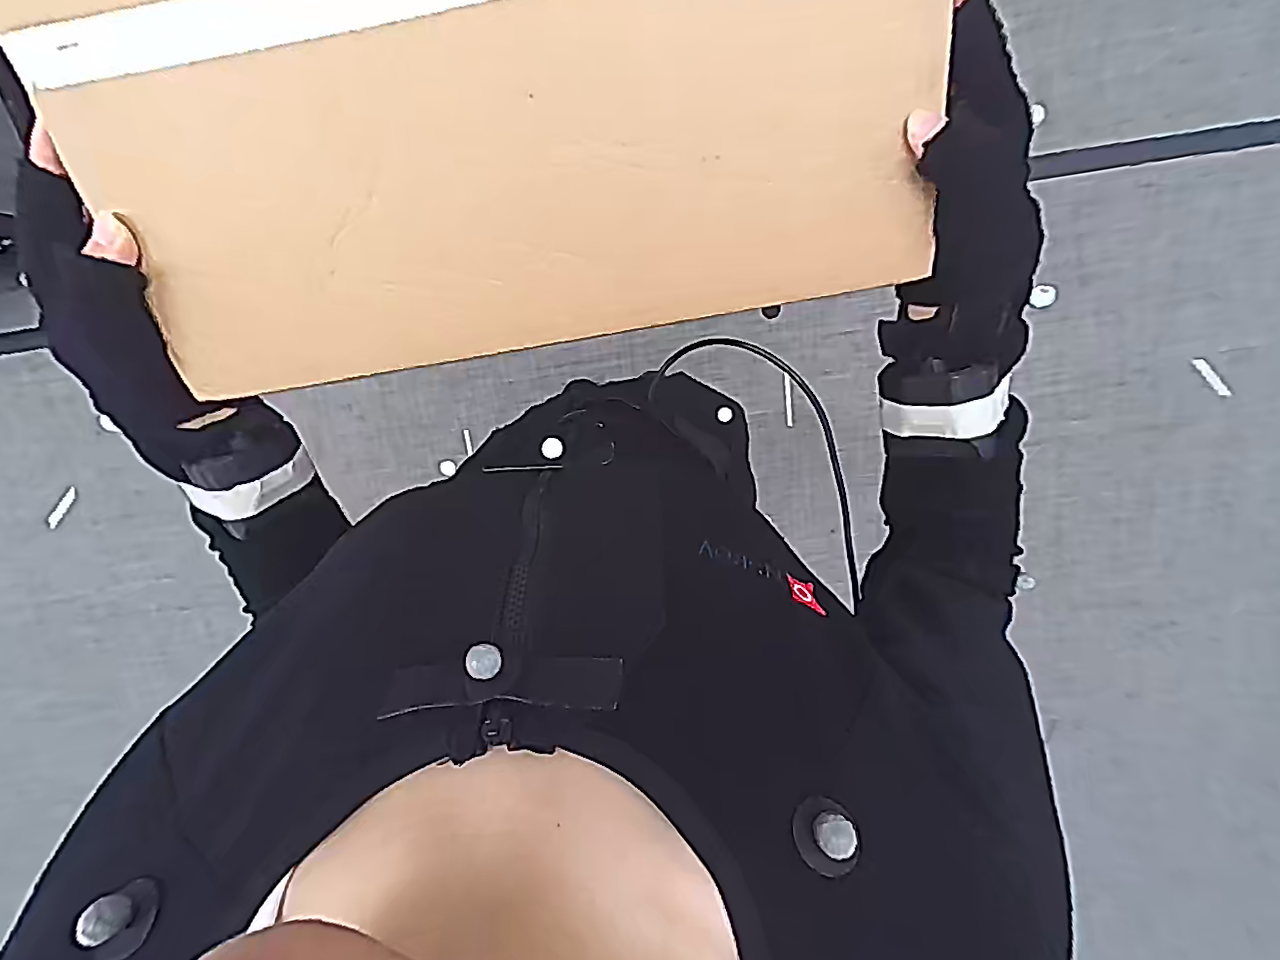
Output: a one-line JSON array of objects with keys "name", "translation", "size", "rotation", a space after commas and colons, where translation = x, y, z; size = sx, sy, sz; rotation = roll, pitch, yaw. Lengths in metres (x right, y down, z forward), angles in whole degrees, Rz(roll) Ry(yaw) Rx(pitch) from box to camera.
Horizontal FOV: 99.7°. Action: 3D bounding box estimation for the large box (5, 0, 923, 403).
[{"name": "large box", "translation": [-0.075, -0.278, 0.372], "size": [0.408, 0.320, 0.320], "rotation": [-9, 115, 3]}]
